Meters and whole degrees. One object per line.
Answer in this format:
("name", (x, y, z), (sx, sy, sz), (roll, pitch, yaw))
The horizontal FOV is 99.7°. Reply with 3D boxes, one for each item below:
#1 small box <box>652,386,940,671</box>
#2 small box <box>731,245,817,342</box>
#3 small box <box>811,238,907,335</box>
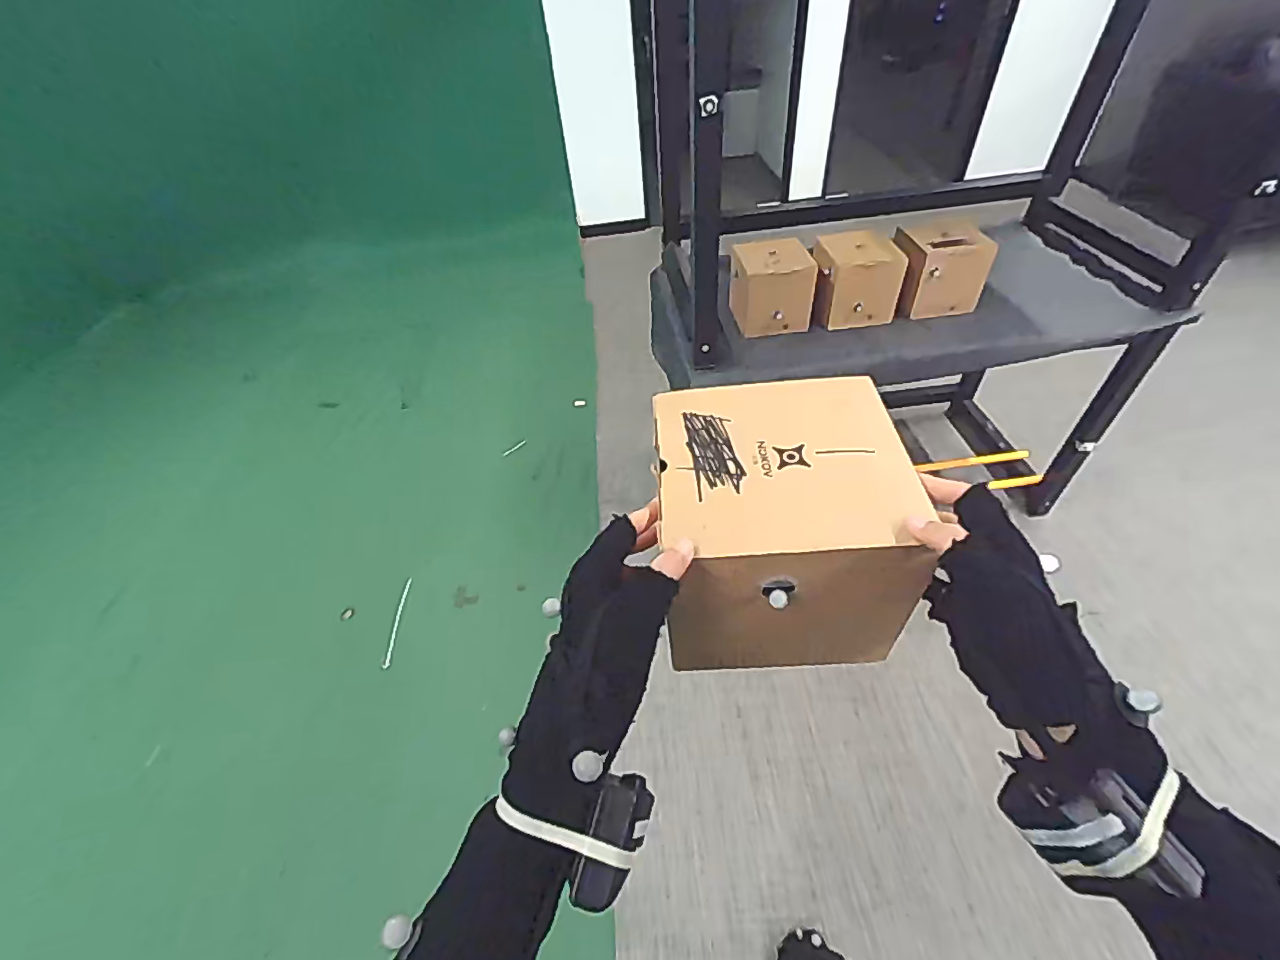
("small box", (0.104, 0.044, 0.443), (0.179, 0.176, 0.168), (-3, 47, 3))
("small box", (0.327, -0.468, 1.360), (0.168, 0.176, 0.179), (-8, 45, 0))
("small box", (0.534, -0.486, 1.359), (0.168, 0.176, 0.179), (-6, 46, -1))
